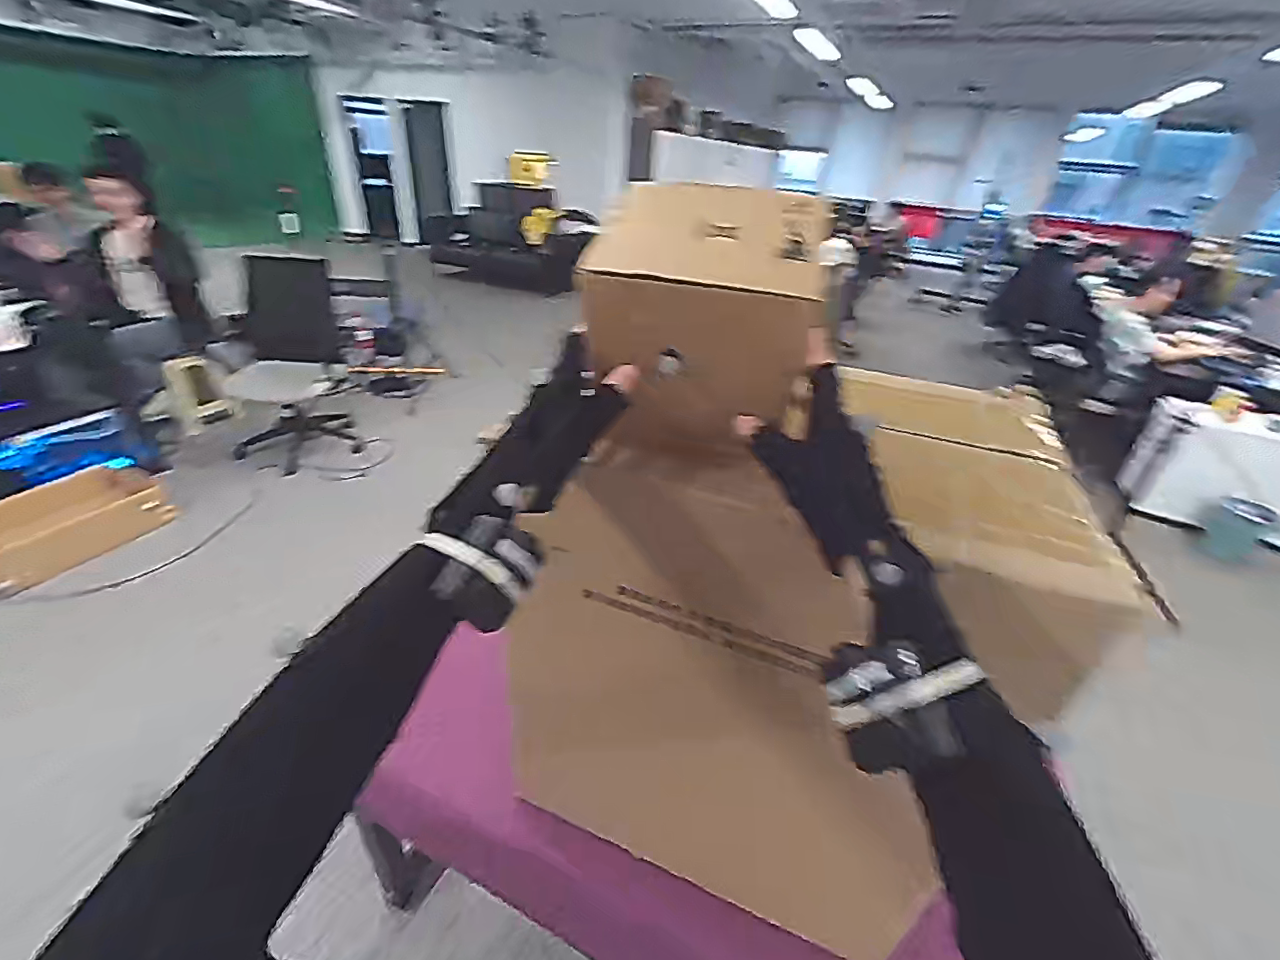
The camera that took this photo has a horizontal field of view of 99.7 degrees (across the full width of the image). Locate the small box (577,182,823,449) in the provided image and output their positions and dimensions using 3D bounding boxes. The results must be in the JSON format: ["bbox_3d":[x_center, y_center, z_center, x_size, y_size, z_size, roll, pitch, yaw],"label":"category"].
[{"bbox_3d":[0.058,-0.147,0.490,0.179,0.176,0.168,9,49,10],"label":"small box"}]
